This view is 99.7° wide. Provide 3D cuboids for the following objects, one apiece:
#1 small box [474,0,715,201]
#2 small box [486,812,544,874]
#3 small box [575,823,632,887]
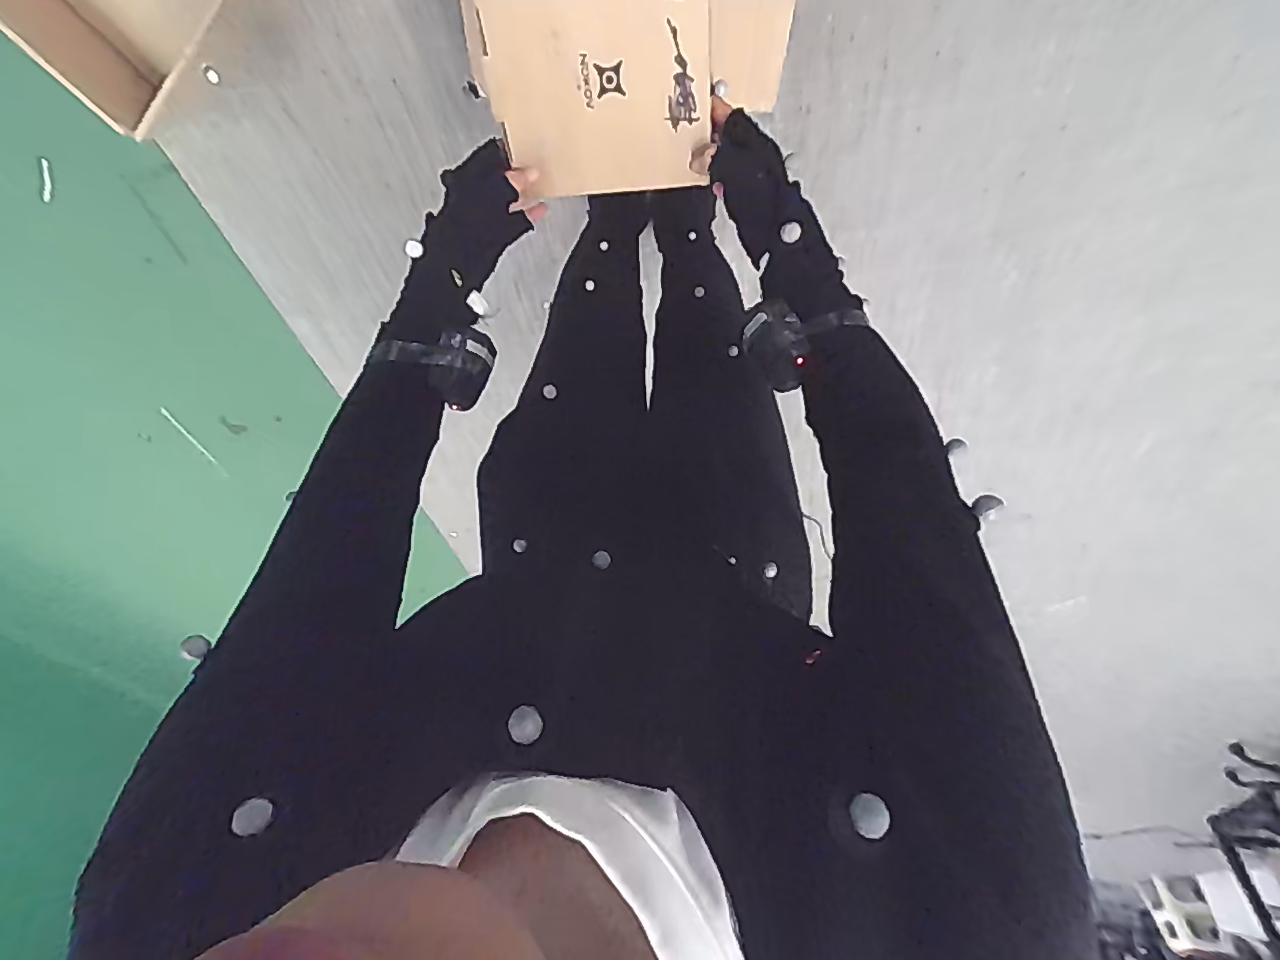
[{"bbox_3d":[-0.023,-0.368,0.485,0.179,0.176,0.168,0,135,8],"label":"small box"},{"bbox_3d":[-0.477,1.403,2.091,0.168,0.176,0.179,7,139,4],"label":"small box"},{"bbox_3d":[-0.134,1.411,2.036,0.168,0.176,0.179,-2,137,13],"label":"small box"}]
